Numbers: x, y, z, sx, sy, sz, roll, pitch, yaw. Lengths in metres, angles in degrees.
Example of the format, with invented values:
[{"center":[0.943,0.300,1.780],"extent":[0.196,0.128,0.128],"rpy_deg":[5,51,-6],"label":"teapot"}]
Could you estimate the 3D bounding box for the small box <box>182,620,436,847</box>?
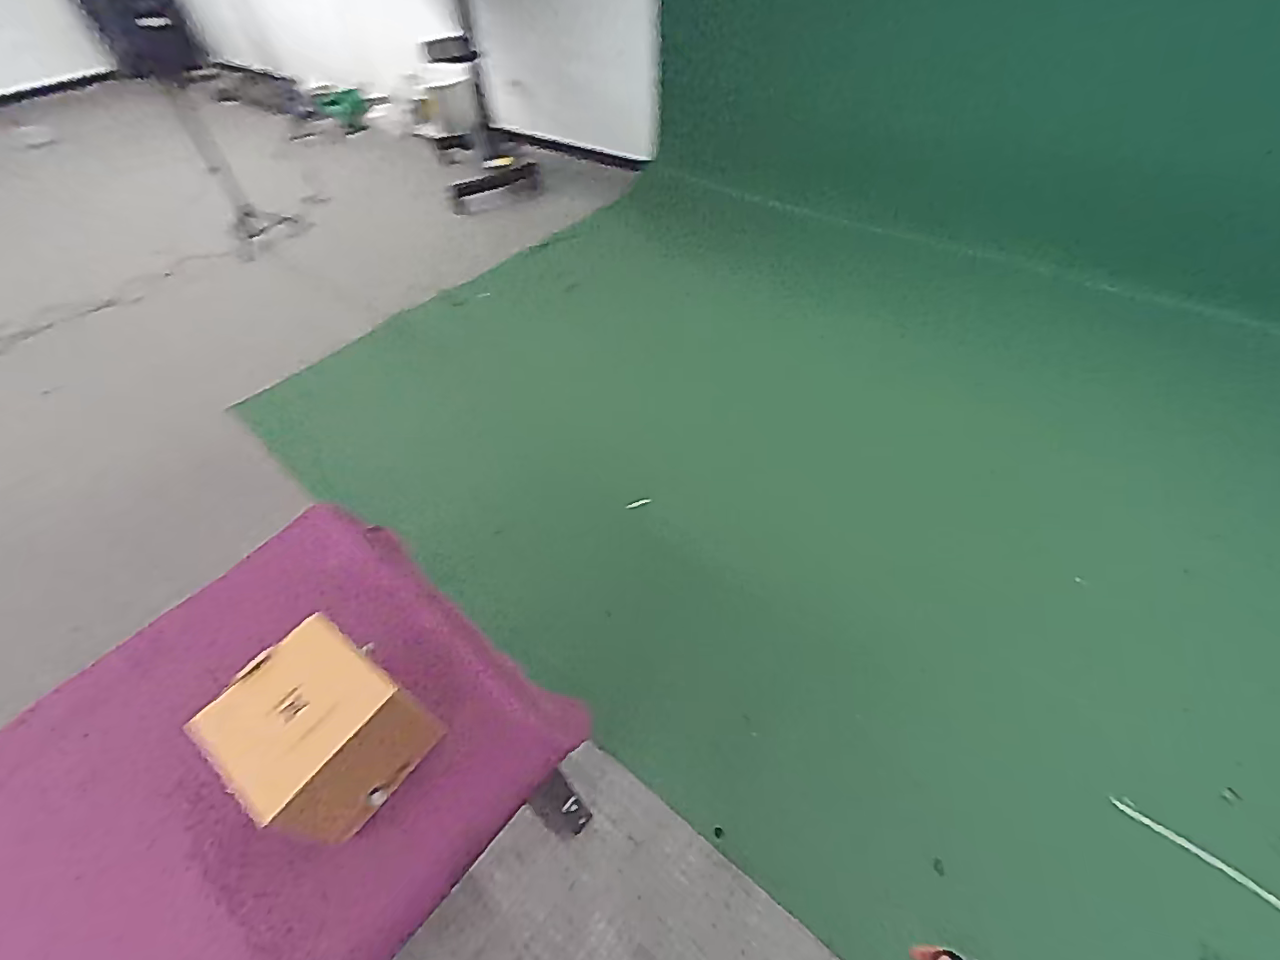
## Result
[{"center":[-0.391,0.314,0.665],"extent":[0.179,0.176,0.168],"rpy_deg":[27,57,26],"label":"small box"}]
